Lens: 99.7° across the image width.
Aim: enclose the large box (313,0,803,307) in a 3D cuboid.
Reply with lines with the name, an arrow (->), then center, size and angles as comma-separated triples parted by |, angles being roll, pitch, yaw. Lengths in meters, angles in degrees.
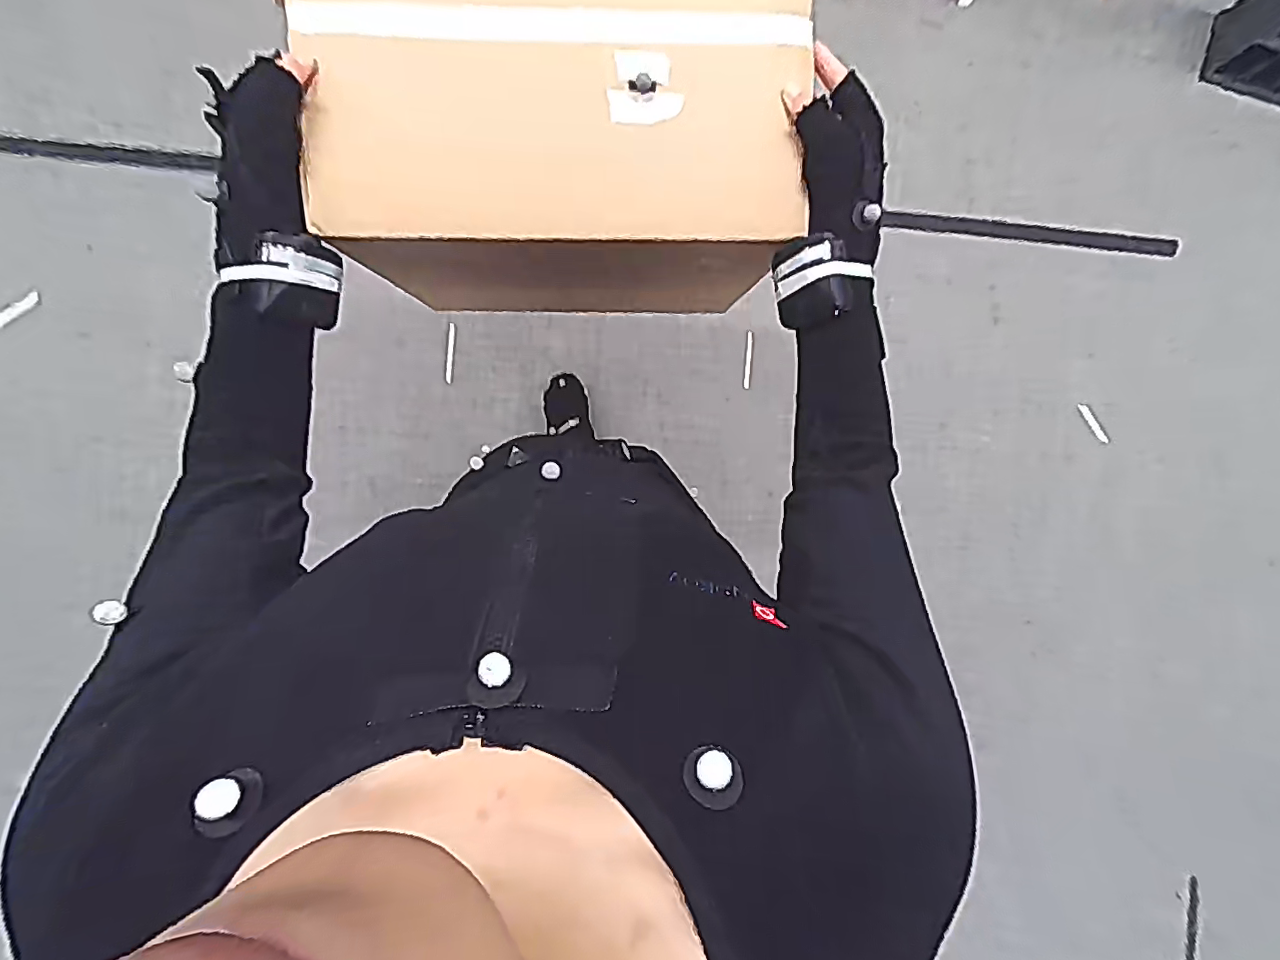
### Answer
large box -> -0.073, -0.380, 0.589 | 0.408, 0.320, 0.320 | -1, 97, -4
